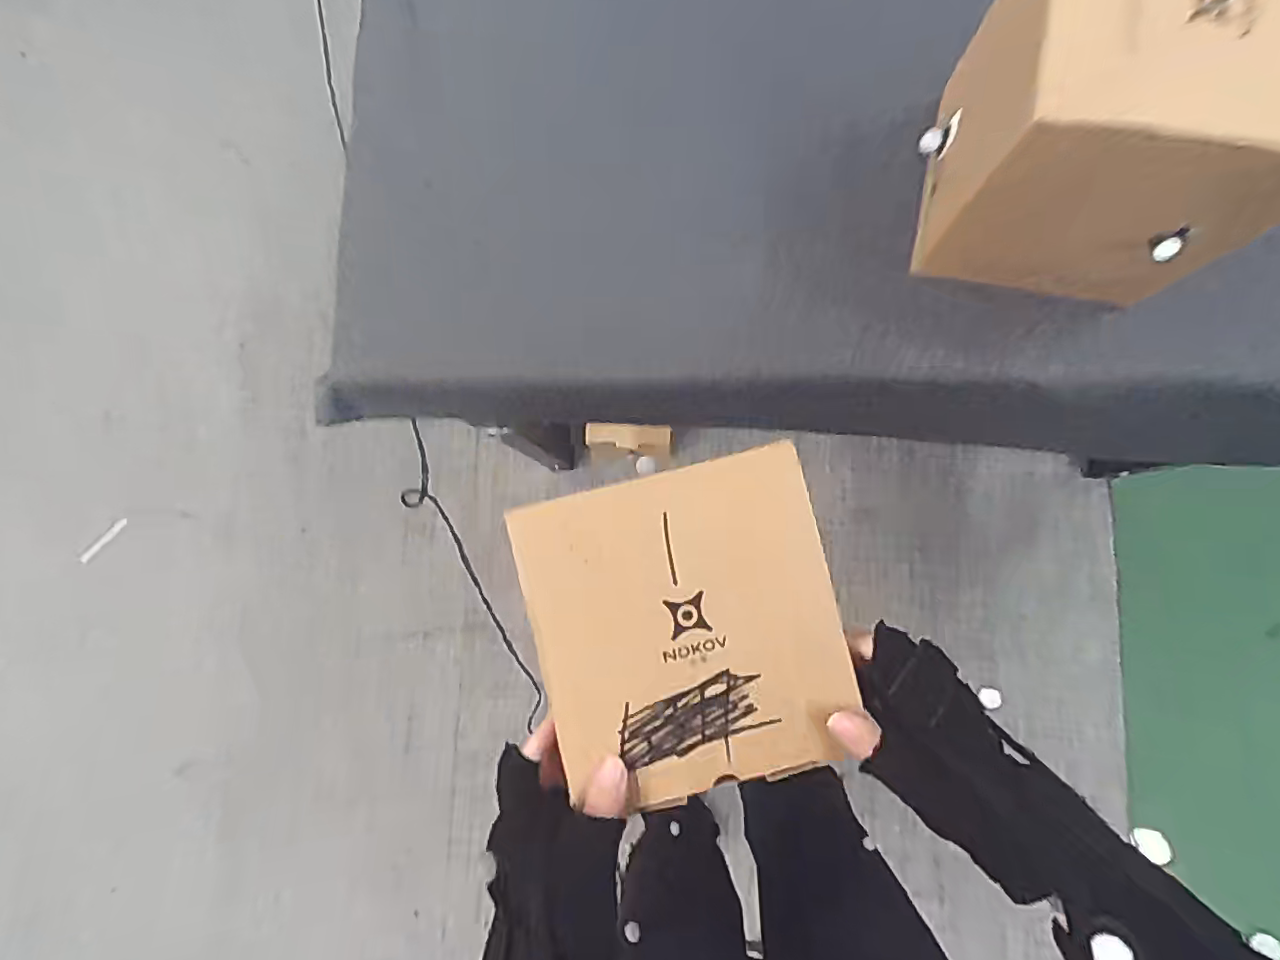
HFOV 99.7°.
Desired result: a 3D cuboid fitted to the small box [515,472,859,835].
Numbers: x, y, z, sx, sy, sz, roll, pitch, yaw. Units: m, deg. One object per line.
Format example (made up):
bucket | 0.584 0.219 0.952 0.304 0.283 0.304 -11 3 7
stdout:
small box | 0.025 0.099 0.384 0.168 0.176 0.179 -13 87 -3
